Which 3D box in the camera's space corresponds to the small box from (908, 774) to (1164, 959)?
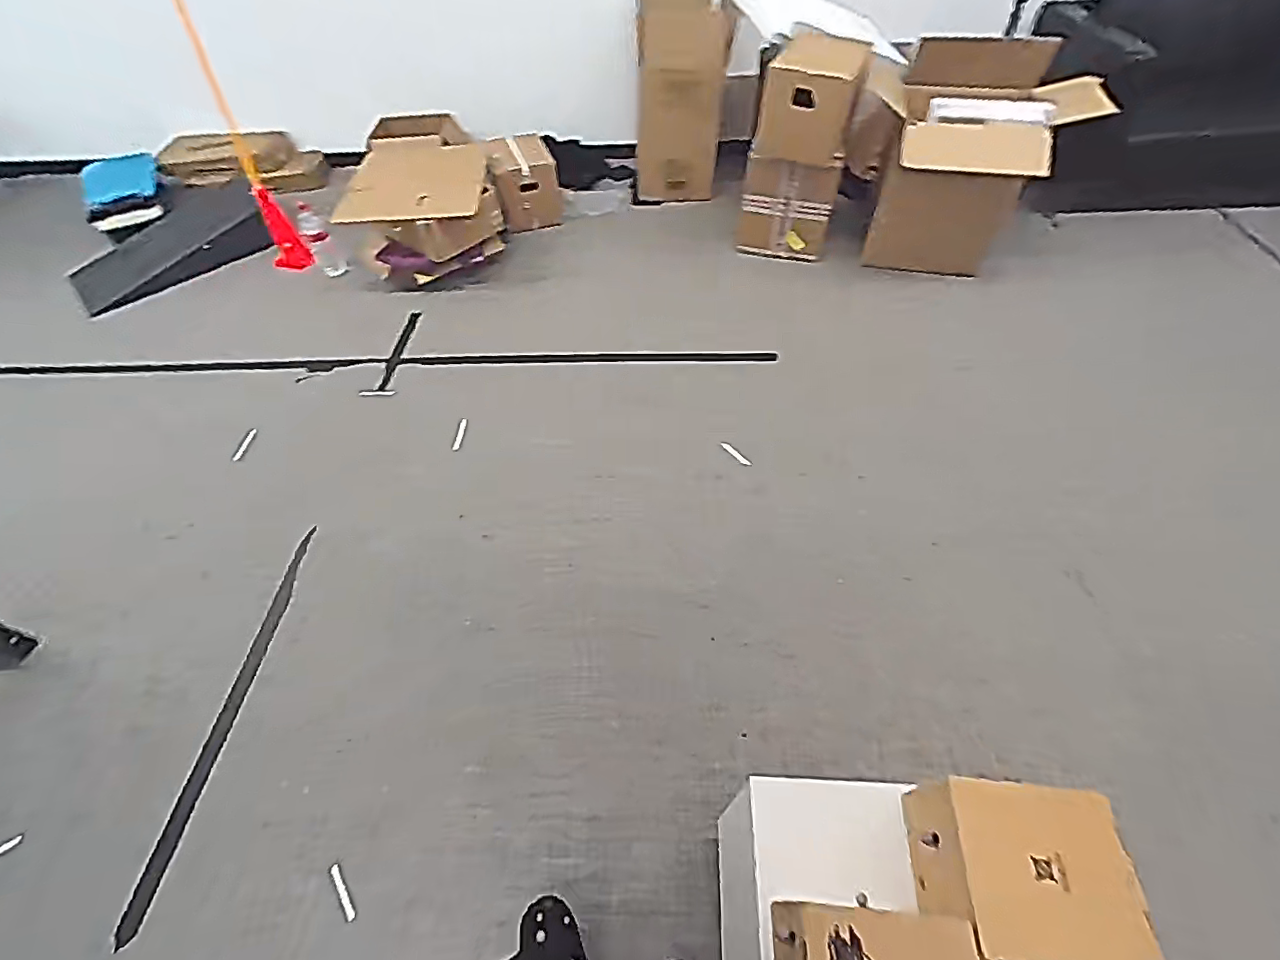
[{"bbox_3d":[0.439,0.465,0.642,0.179,0.176,0.168,4,53,5],"label":"small box"}]
